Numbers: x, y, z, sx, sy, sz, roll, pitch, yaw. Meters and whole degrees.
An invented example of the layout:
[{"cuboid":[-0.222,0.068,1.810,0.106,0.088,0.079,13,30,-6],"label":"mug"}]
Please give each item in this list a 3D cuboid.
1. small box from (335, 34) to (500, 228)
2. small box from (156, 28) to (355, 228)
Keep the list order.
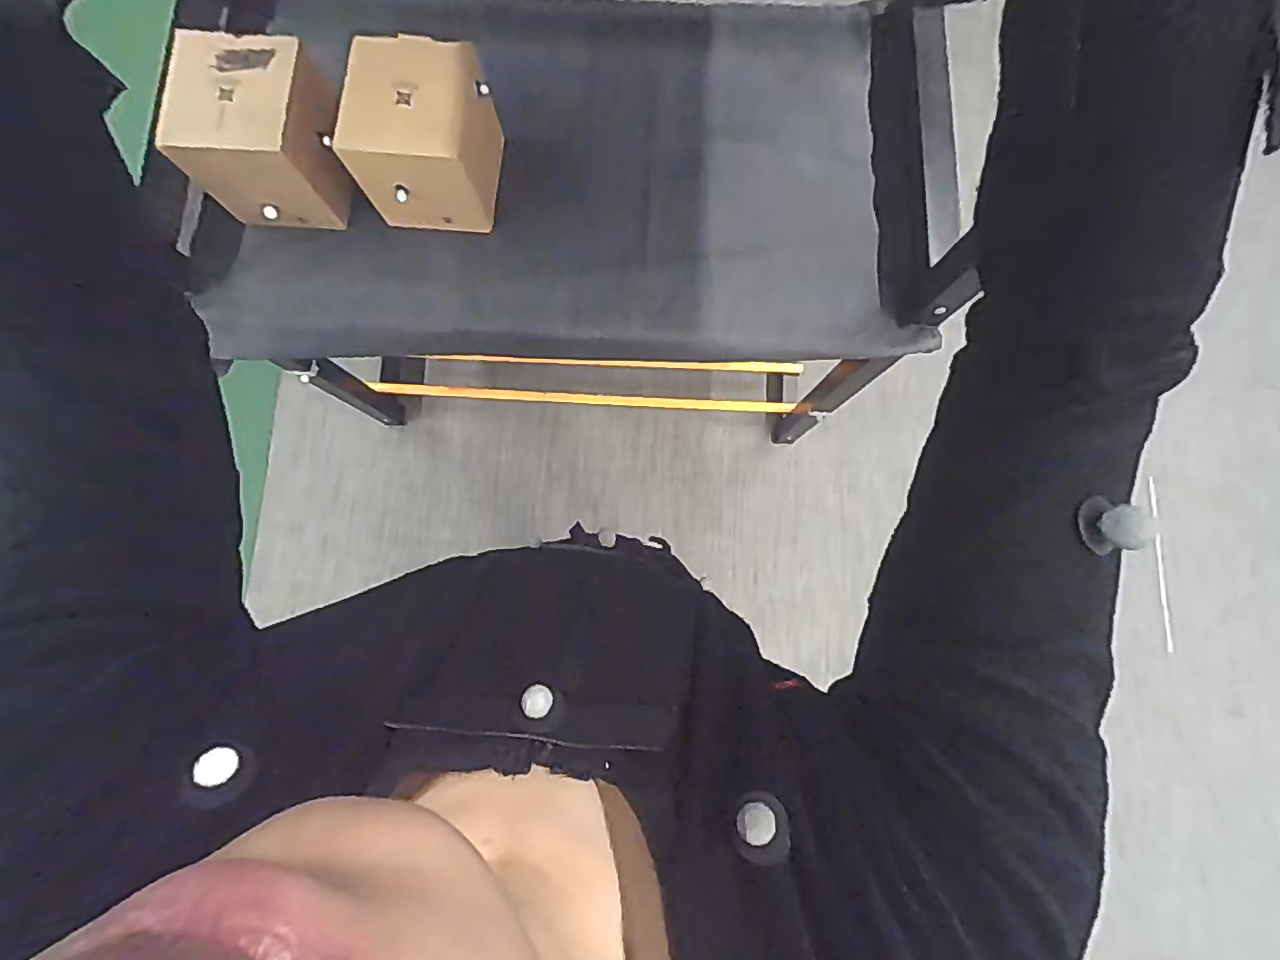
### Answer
[{"cuboid":[-0.312,-0.498,0.794,0.168,0.176,0.179,4,80,0],"label":"small box"},{"cuboid":[-0.539,-0.502,0.789,0.168,0.176,0.179,3,81,-1],"label":"small box"}]
